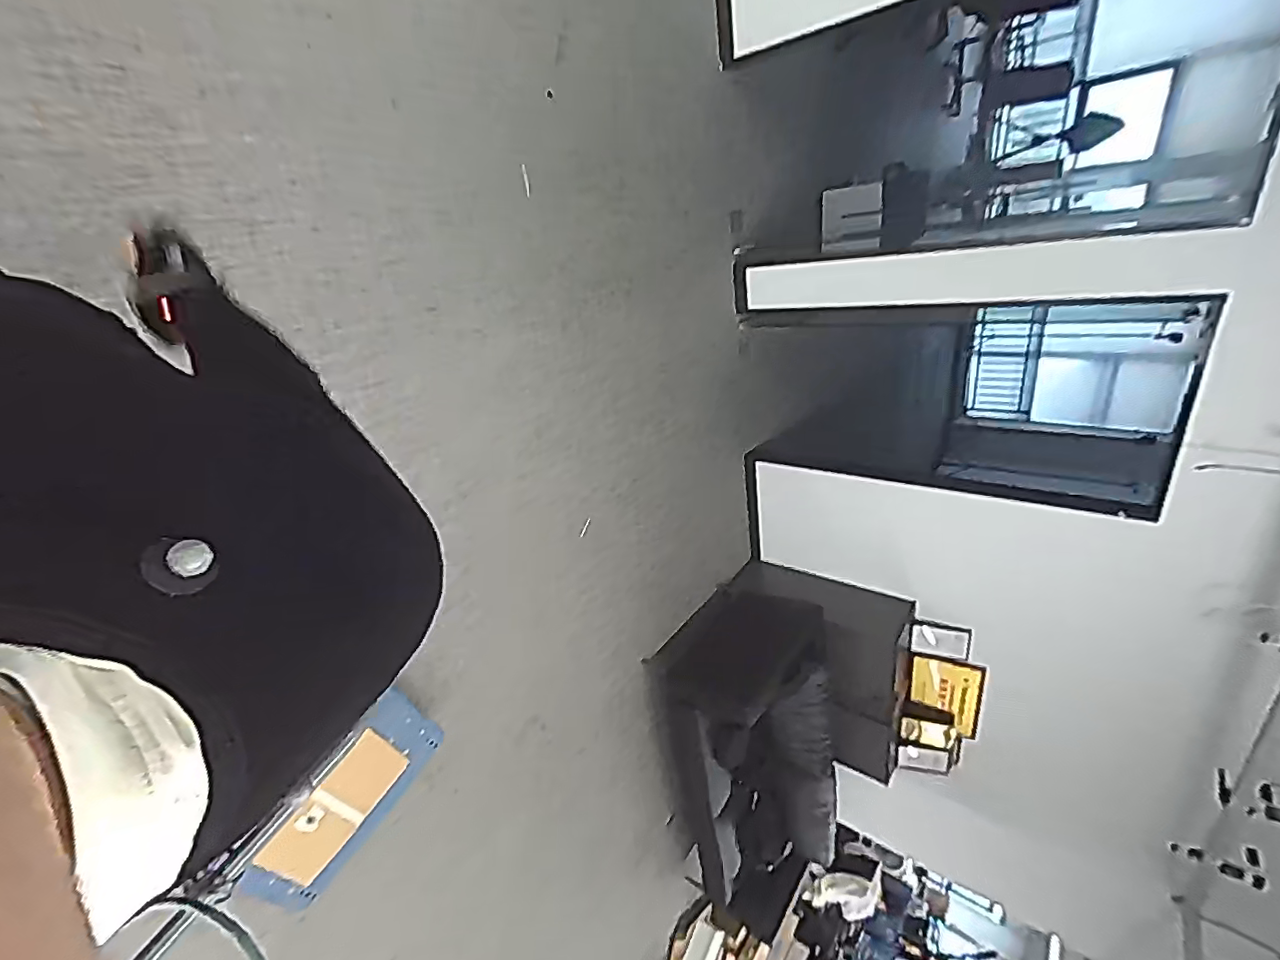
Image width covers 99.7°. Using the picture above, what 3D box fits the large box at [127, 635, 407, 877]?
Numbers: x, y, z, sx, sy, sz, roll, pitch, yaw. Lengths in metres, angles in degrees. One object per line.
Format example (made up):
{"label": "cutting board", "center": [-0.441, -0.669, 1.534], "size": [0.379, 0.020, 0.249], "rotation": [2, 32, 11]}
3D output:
{"label": "large box", "center": [-0.859, 0.640, 1.279], "size": [0.320, 0.320, 0.408], "rotation": [-50, 136, -32]}
